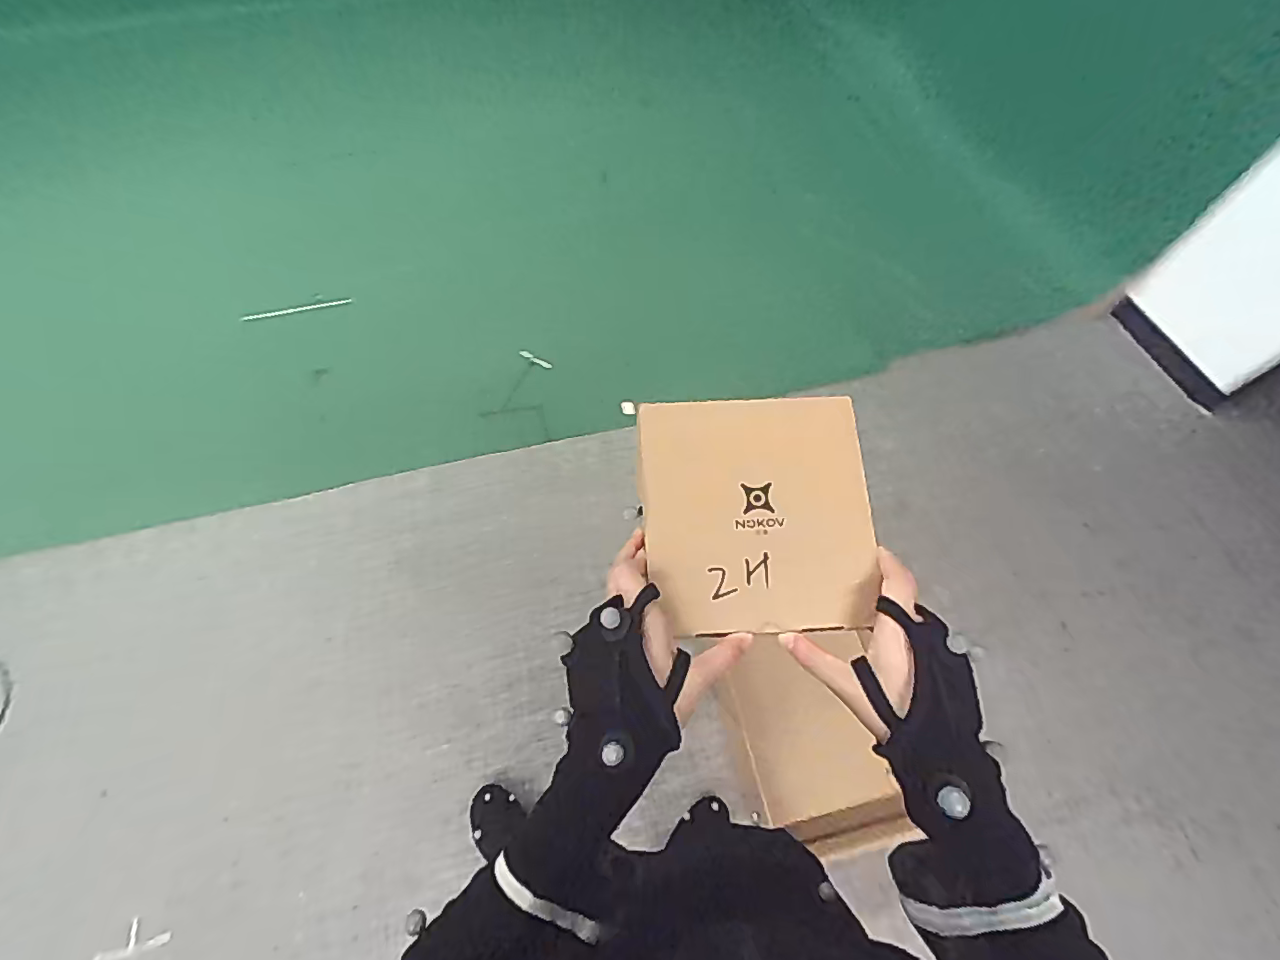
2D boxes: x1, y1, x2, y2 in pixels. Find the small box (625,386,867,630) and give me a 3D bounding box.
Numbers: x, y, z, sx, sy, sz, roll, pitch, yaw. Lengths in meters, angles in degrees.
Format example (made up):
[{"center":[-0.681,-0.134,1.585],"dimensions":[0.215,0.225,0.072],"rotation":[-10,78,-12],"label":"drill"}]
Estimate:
[{"center":[0.072,0.036,0.474],"dimensions":[0.168,0.176,0.179],"rotation":[-4,74,-1],"label":"small box"}]
